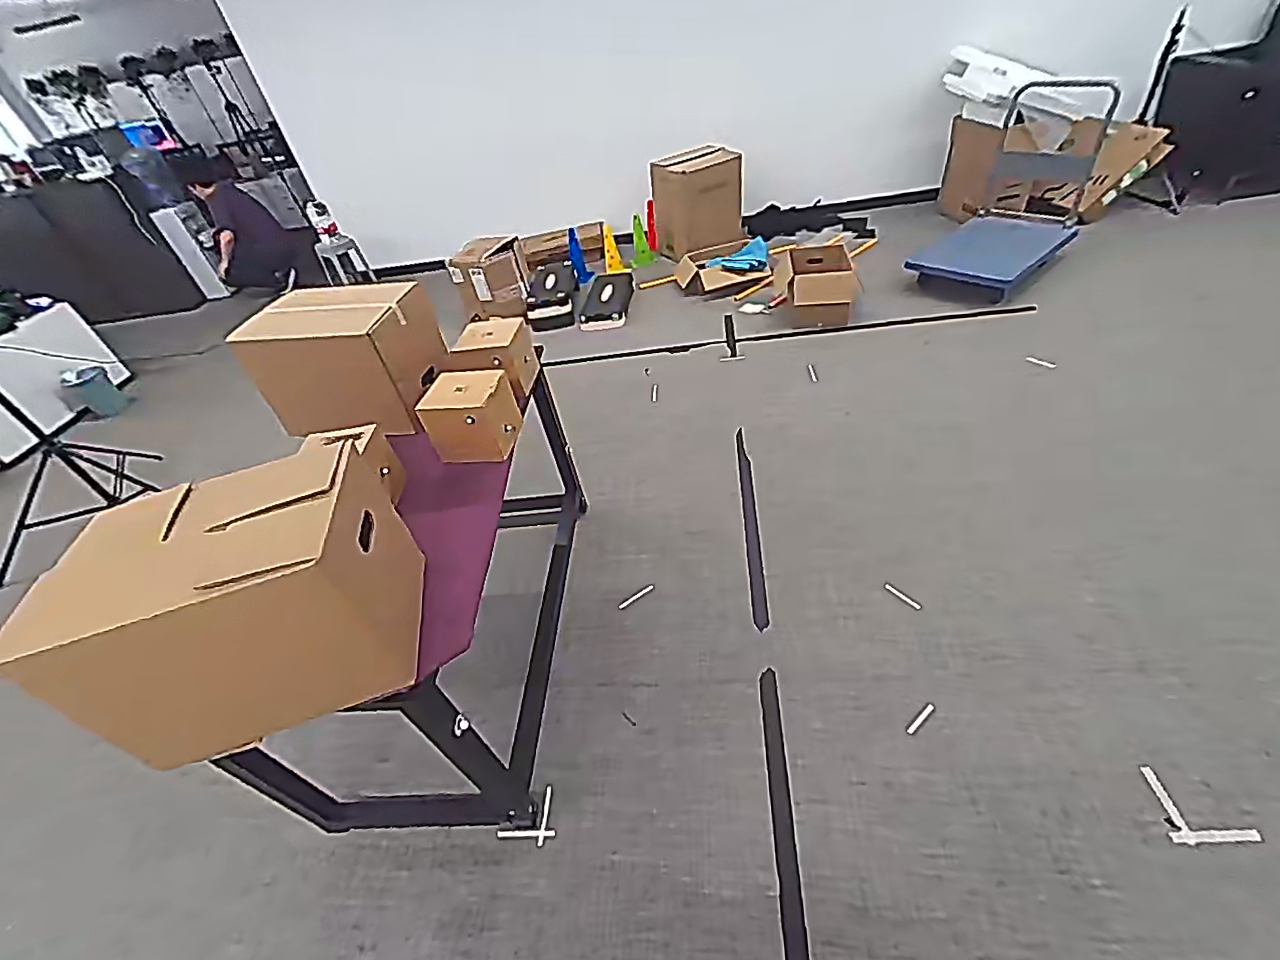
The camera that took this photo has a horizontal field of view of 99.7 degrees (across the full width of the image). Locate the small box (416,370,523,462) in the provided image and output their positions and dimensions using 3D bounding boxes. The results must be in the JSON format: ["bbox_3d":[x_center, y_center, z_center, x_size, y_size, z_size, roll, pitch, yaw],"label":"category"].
[{"bbox_3d":[-0.419,-0.158,1.360,0.179,0.176,0.168,-1,42,11],"label":"small box"}]

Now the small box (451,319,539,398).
[{"bbox_3d":[-0.409,-0.344,1.563,0.179,0.176,0.168,-4,42,11],"label":"small box"}]
